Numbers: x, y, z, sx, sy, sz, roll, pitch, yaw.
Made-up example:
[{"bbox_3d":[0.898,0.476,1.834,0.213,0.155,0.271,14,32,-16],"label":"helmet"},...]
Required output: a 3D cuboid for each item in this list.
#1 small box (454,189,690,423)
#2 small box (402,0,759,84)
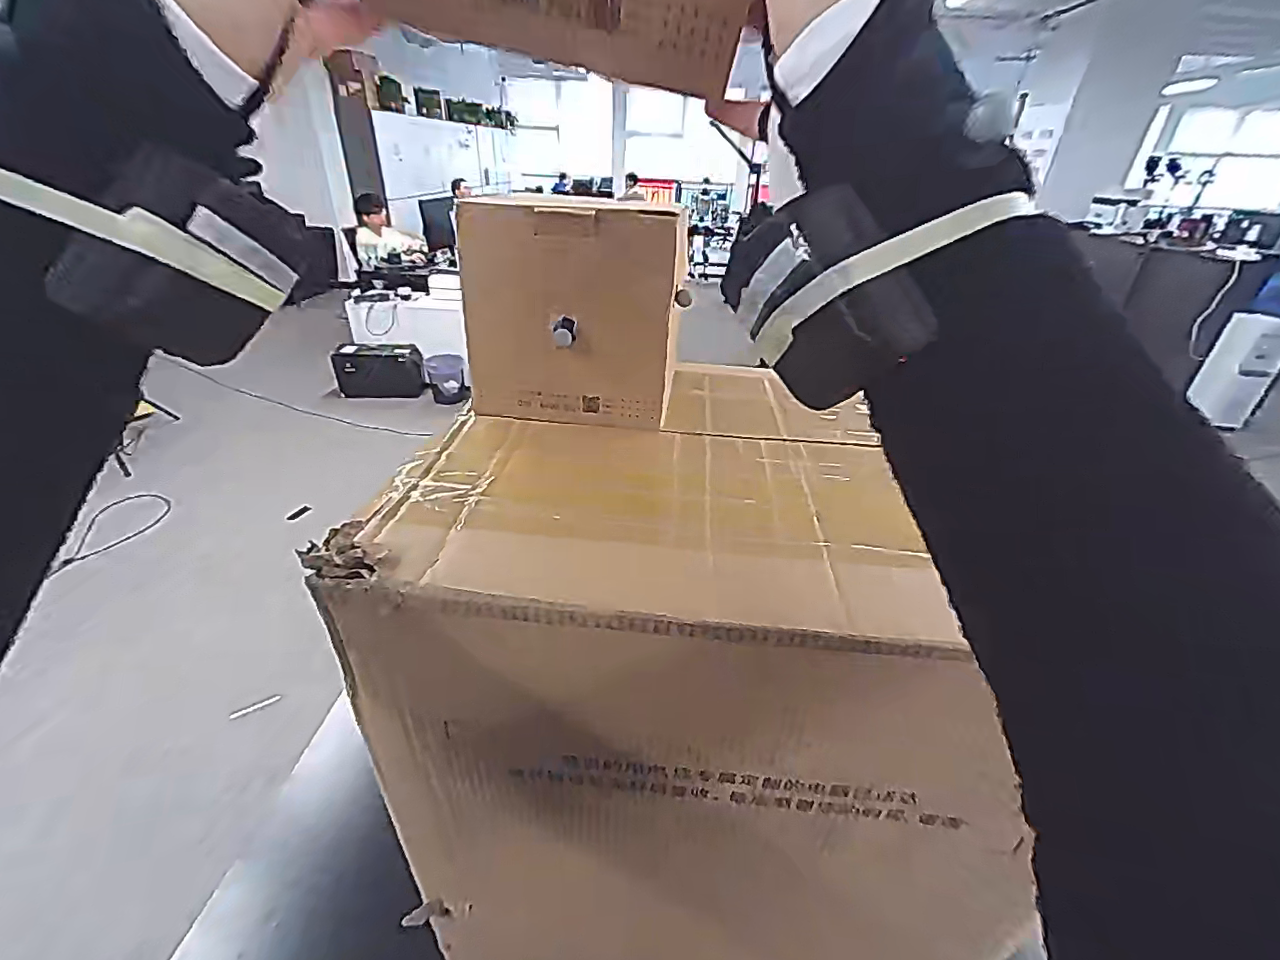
[{"bbox_3d":[-0.046,-0.162,0.490,0.168,0.176,0.179,6,30,4],"label":"small box"},{"bbox_3d":[-0.020,-0.304,0.228,0.168,0.176,0.179,7,51,-8],"label":"small box"}]
